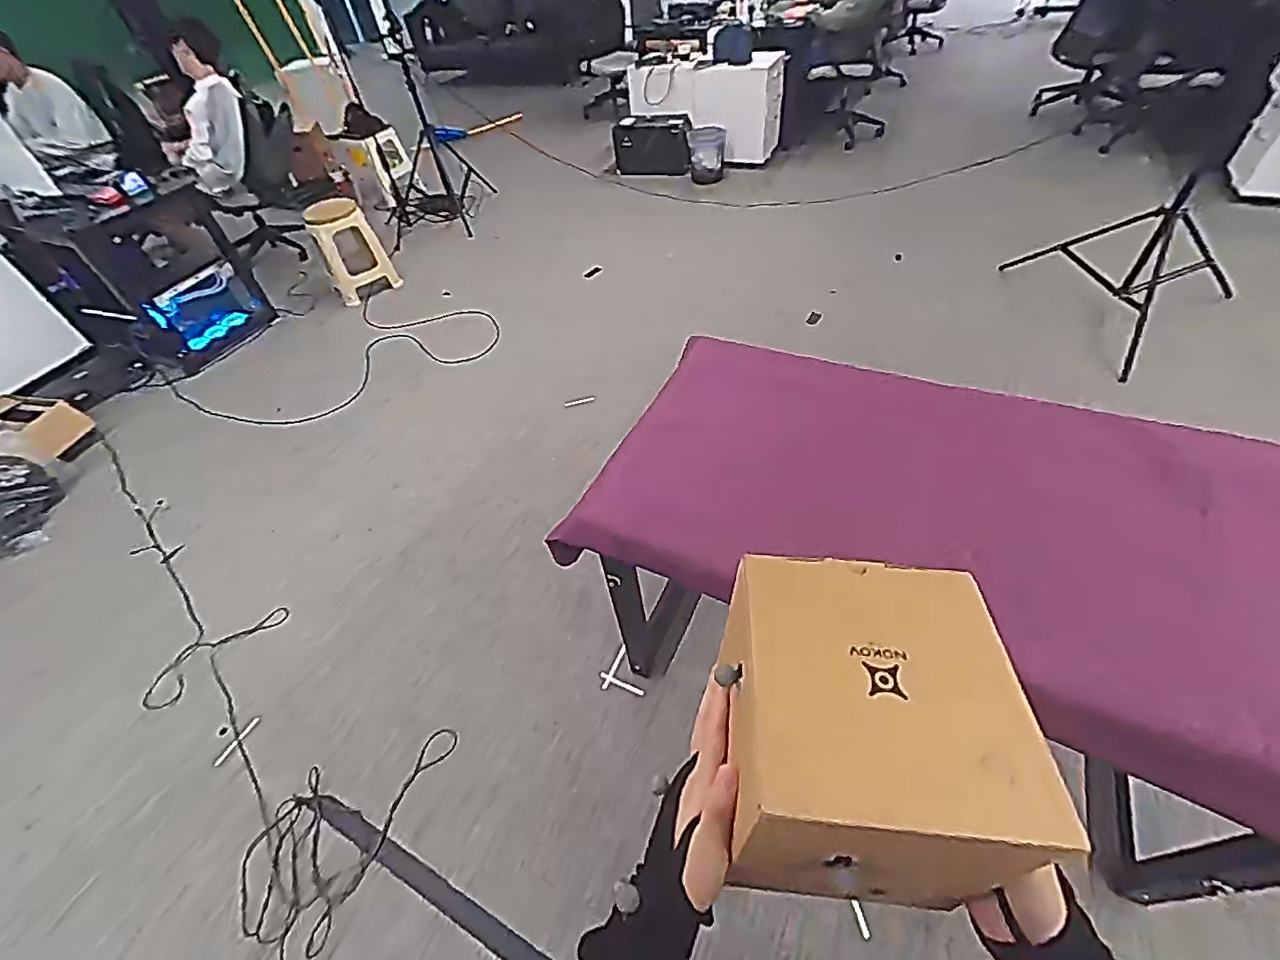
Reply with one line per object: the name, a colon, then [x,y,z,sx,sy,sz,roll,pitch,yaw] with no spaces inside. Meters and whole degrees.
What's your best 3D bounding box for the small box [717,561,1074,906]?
small box: [0.149,0.184,0.395,0.168,0.176,0.179,4,42,3]
